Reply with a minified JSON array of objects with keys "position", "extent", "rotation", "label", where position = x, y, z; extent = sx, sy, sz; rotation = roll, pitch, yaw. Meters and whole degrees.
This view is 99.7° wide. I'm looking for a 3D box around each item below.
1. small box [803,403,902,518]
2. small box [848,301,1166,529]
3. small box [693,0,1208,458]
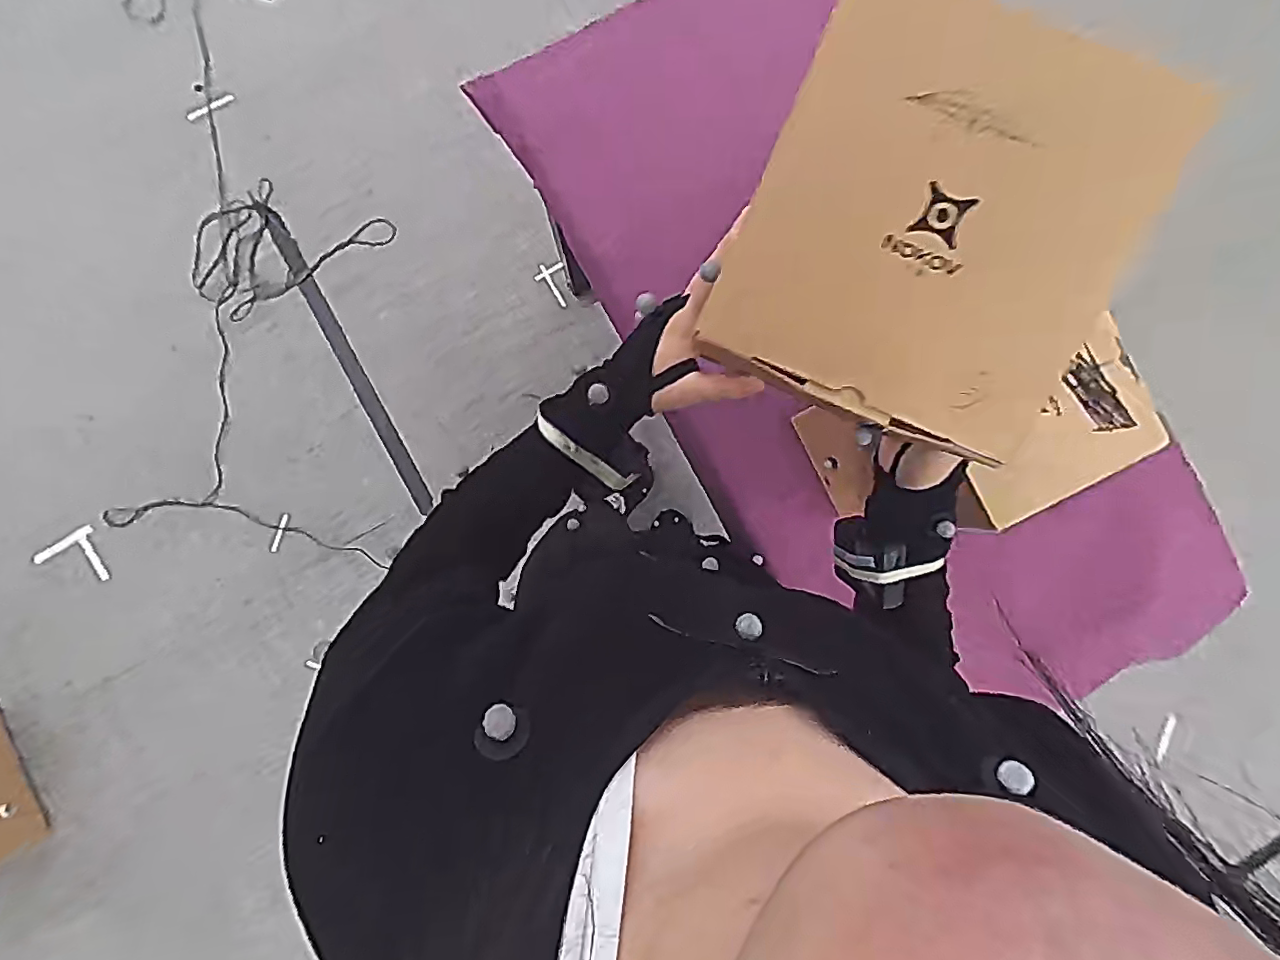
[{"position":[0.335,-0.059,0.711],"extent":[0.179,0.176,0.168],"rotation":[-26,89,-3],"label":"small box"},{"position":[0.344,-0.065,0.547],"extent":[0.179,0.176,0.168],"rotation":[-26,88,-2],"label":"small box"},{"position":[0.140,-0.131,0.322],"extent":[0.168,0.176,0.179],"rotation":[22,101,1],"label":"small box"}]
